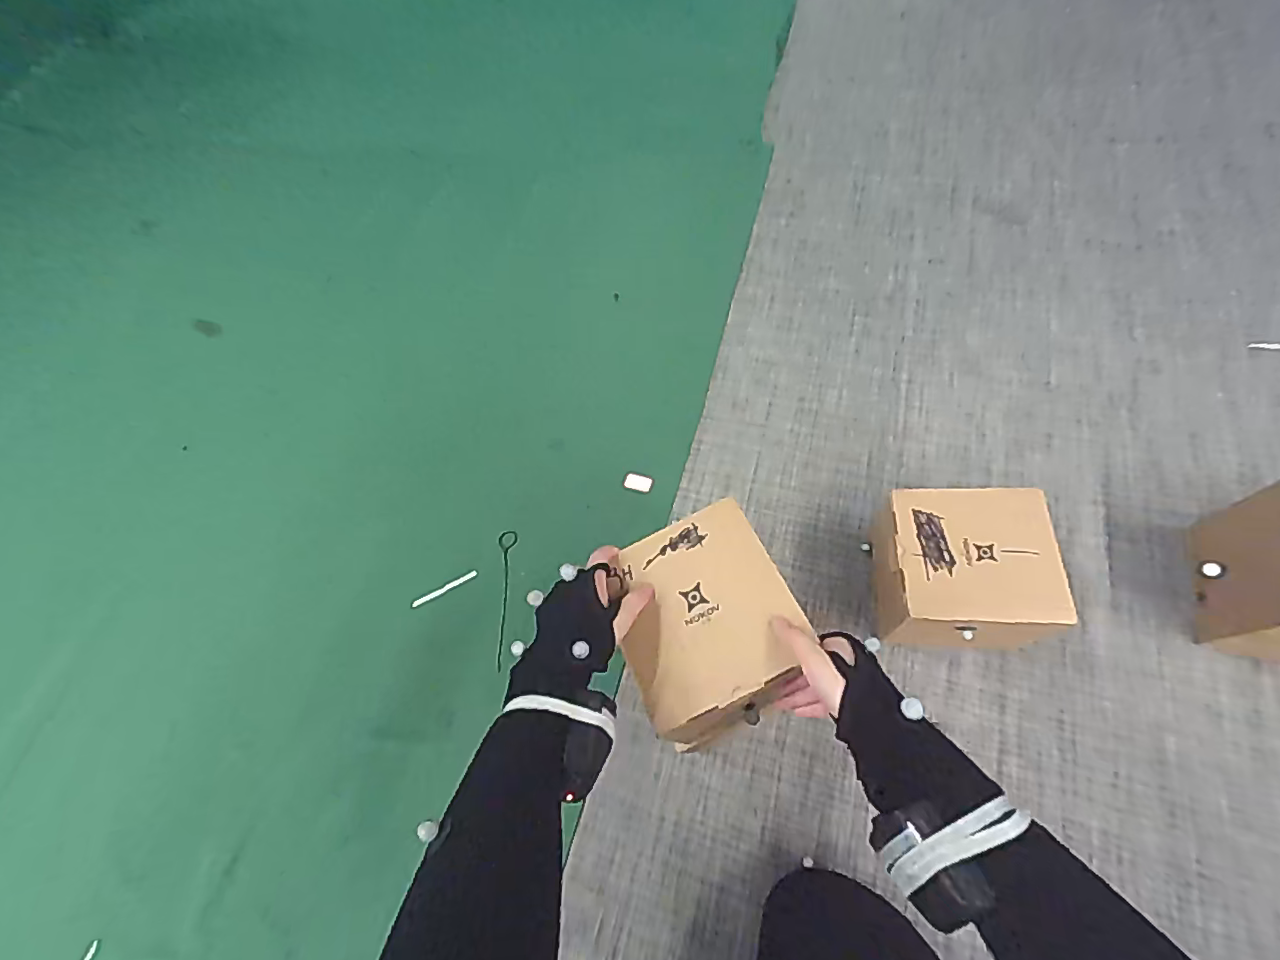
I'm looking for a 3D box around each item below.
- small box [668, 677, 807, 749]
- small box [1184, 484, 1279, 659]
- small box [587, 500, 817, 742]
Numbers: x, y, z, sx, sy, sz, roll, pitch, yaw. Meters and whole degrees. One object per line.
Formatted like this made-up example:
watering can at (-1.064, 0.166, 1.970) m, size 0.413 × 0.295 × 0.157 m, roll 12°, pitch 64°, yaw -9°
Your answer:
small box at (0.099, 0.240, 0.719) m, size 0.179 × 0.176 × 0.168 m, roll -27°, pitch 62°, yaw -2°
small box at (0.798, 0.116, 0.626) m, size 0.179 × 0.176 × 0.168 m, roll 11°, pitch 67°, yaw 17°
small box at (0.069, 0.156, 0.575) m, size 0.168 × 0.176 × 0.179 m, roll -27°, pitch 60°, yaw 1°
